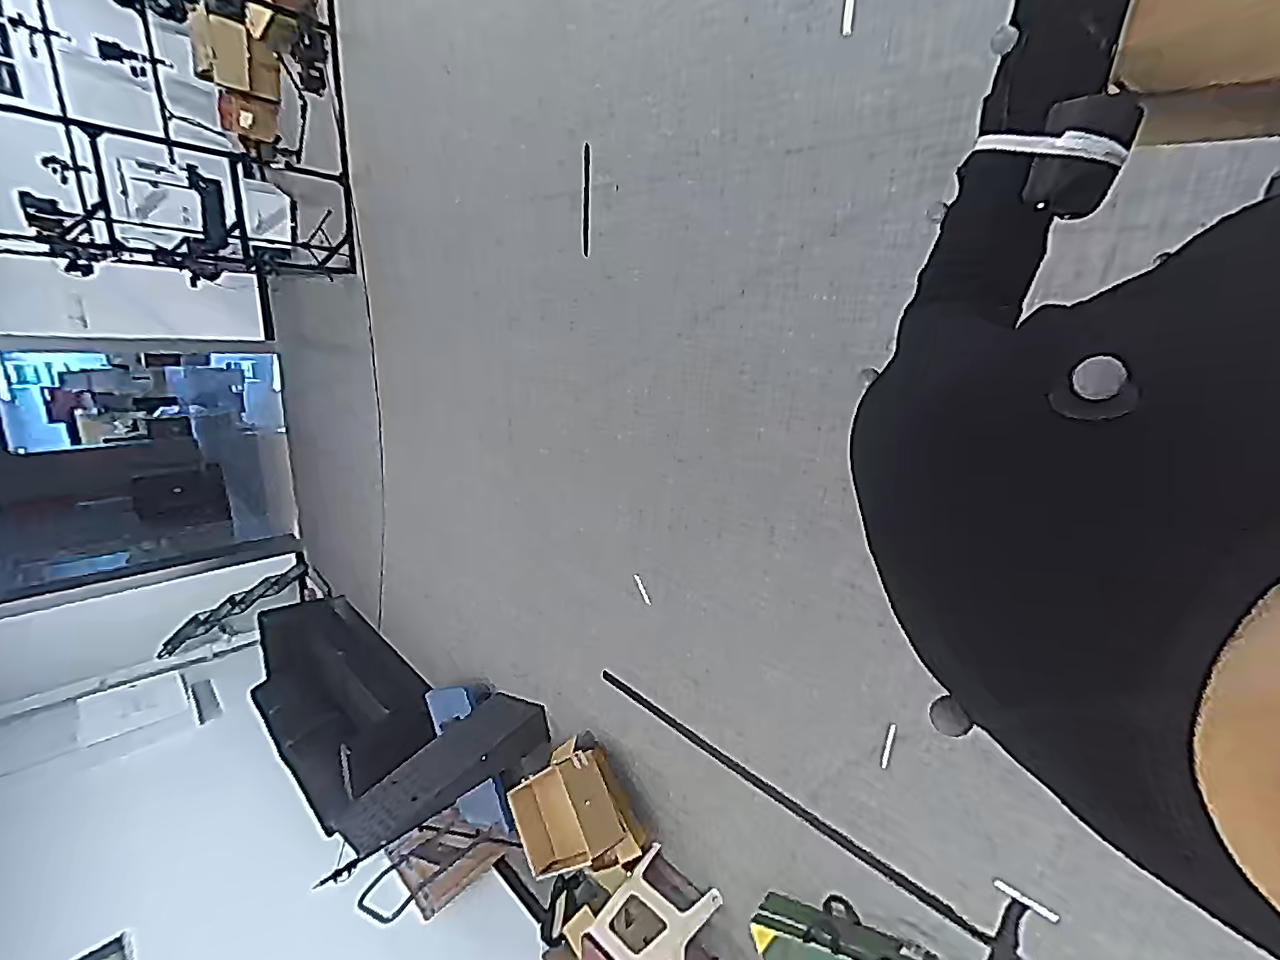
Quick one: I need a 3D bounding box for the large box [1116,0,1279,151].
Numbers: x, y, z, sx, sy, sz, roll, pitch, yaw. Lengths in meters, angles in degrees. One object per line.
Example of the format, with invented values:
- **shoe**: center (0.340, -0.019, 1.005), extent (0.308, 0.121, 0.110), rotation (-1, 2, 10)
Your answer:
- **large box**: center (0.556, -0.390, 0.284), extent (0.408, 0.320, 0.320), rotation (18, 121, 37)
